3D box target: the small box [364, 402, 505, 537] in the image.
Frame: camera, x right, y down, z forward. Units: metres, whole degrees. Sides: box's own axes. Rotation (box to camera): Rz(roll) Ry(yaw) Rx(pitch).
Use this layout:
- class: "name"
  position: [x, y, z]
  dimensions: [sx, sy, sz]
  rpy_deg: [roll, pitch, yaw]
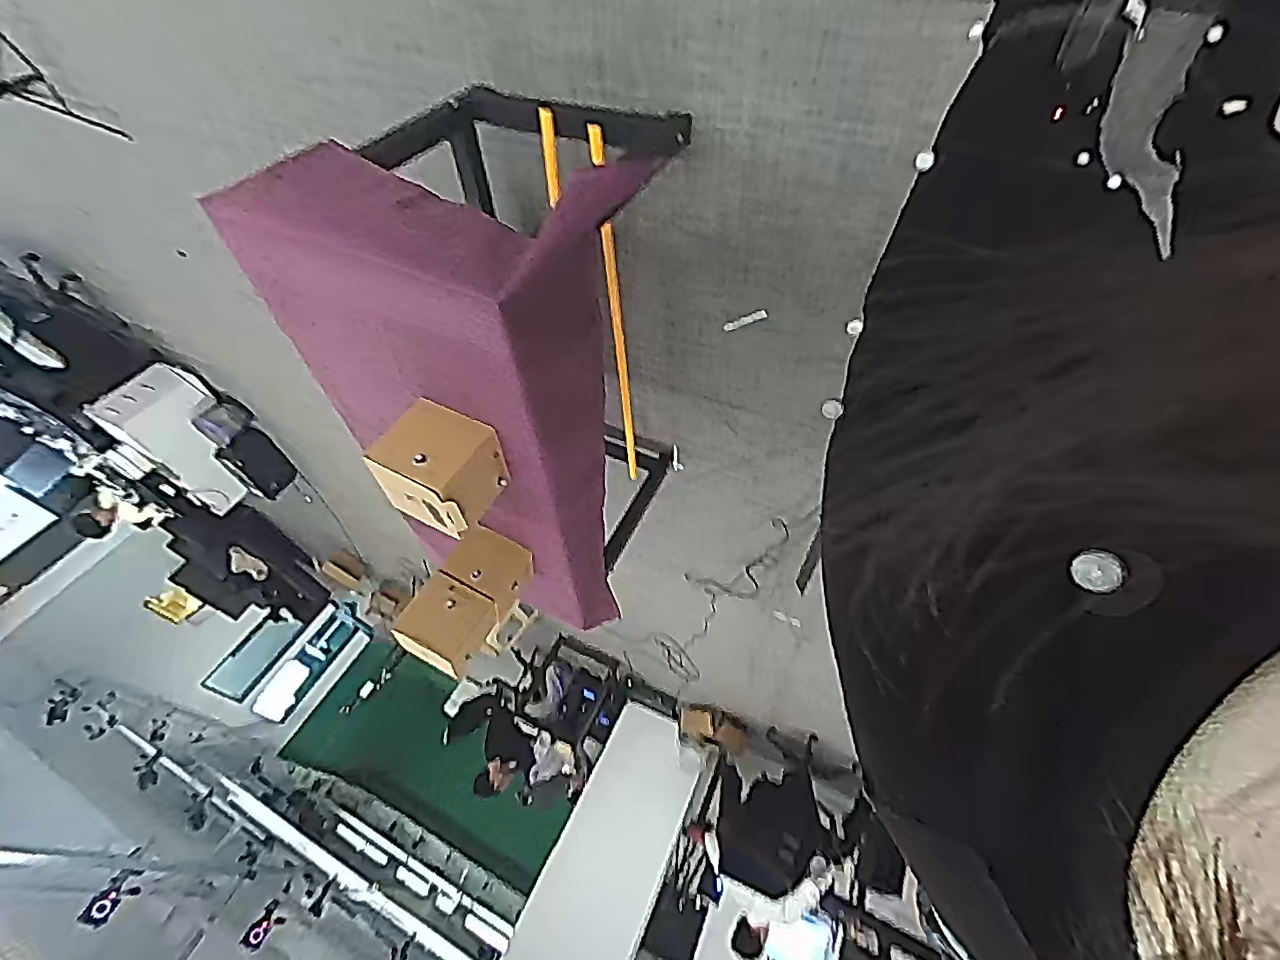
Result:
- class: "small box"
  position: [-0.382, -0.025, 1.049]
  dimensions: [0.179, 0.176, 0.168]
  rpy_deg: [23, 147, 15]

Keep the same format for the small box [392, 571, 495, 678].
- class: "small box"
  position: [-0.473, 0.356, 1.336]
  dimensions: [0.168, 0.176, 0.179]
  rpy_deg: [27, 146, 6]

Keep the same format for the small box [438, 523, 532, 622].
- class: "small box"
  position: [-0.399, 0.243, 1.429]
  dimensions: [0.179, 0.176, 0.168]
  rpy_deg: [27, 147, 8]
